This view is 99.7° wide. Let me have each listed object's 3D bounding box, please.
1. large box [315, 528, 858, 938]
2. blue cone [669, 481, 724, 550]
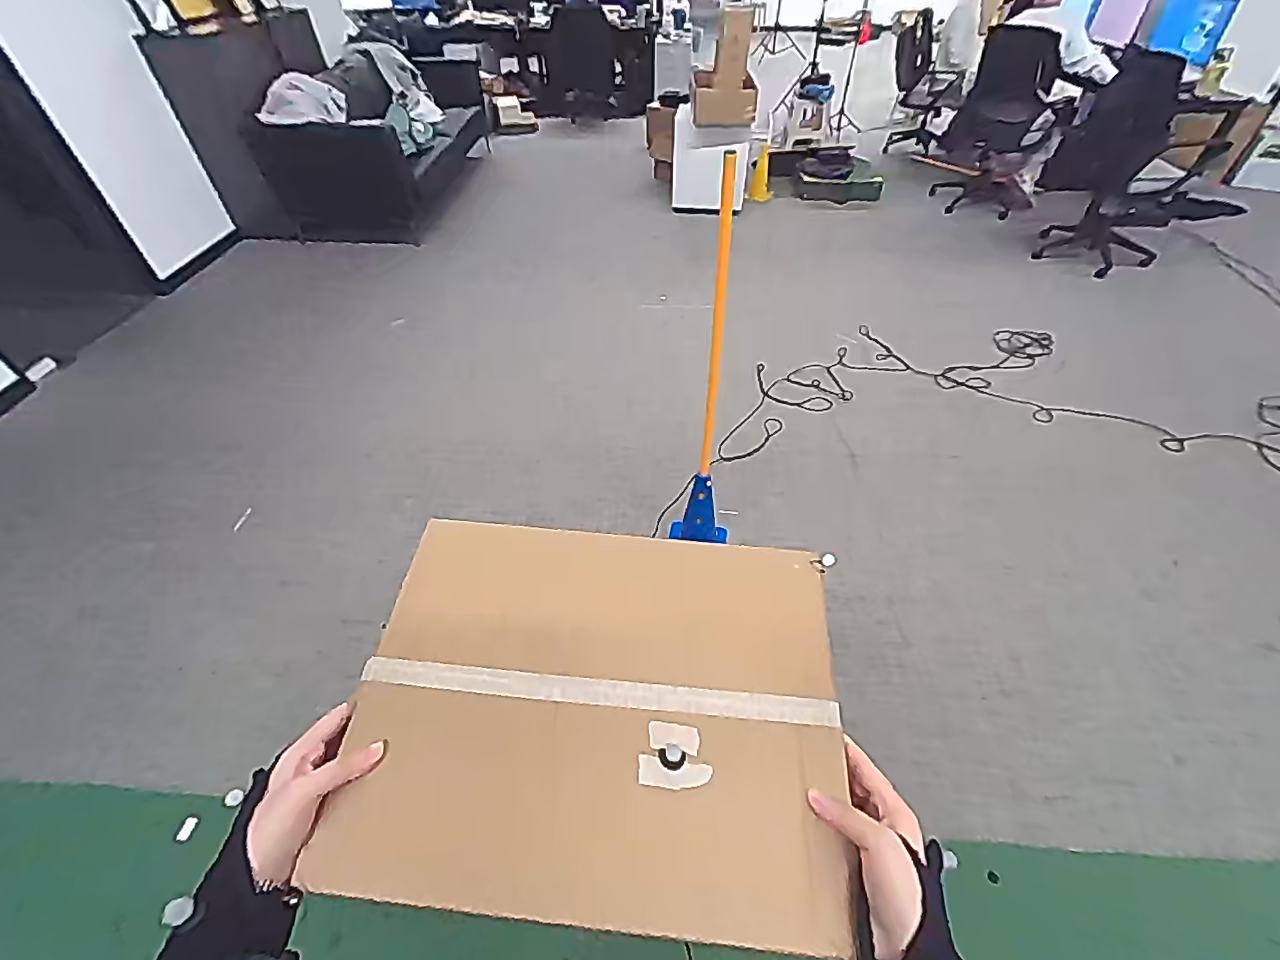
[{"bbox_3d":[-0.034,0.276,0.594,0.408,0.320,0.320,5,54,2],"label":"large box"},{"bbox_3d":[0.189,0.137,1.747,0.193,0.380,0.192,9,47,9],"label":"blue cone"}]
